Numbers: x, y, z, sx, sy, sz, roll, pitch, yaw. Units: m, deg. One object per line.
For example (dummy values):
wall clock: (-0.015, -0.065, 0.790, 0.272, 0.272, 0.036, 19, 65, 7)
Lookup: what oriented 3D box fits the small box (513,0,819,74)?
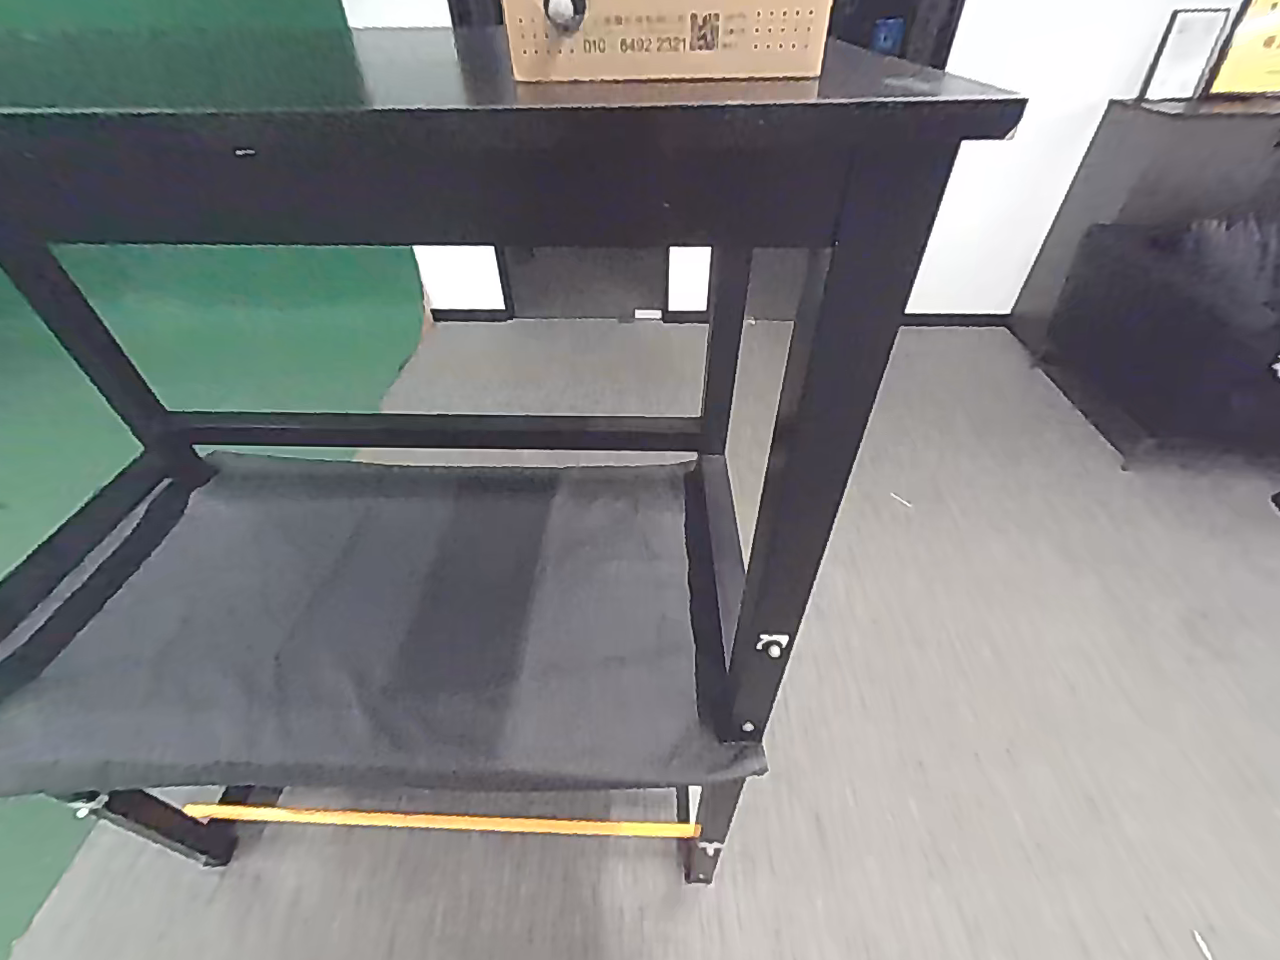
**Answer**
small box: (0.017, -0.339, 0.304, 0.168, 0.176, 0.179, 3, 41, 4)
